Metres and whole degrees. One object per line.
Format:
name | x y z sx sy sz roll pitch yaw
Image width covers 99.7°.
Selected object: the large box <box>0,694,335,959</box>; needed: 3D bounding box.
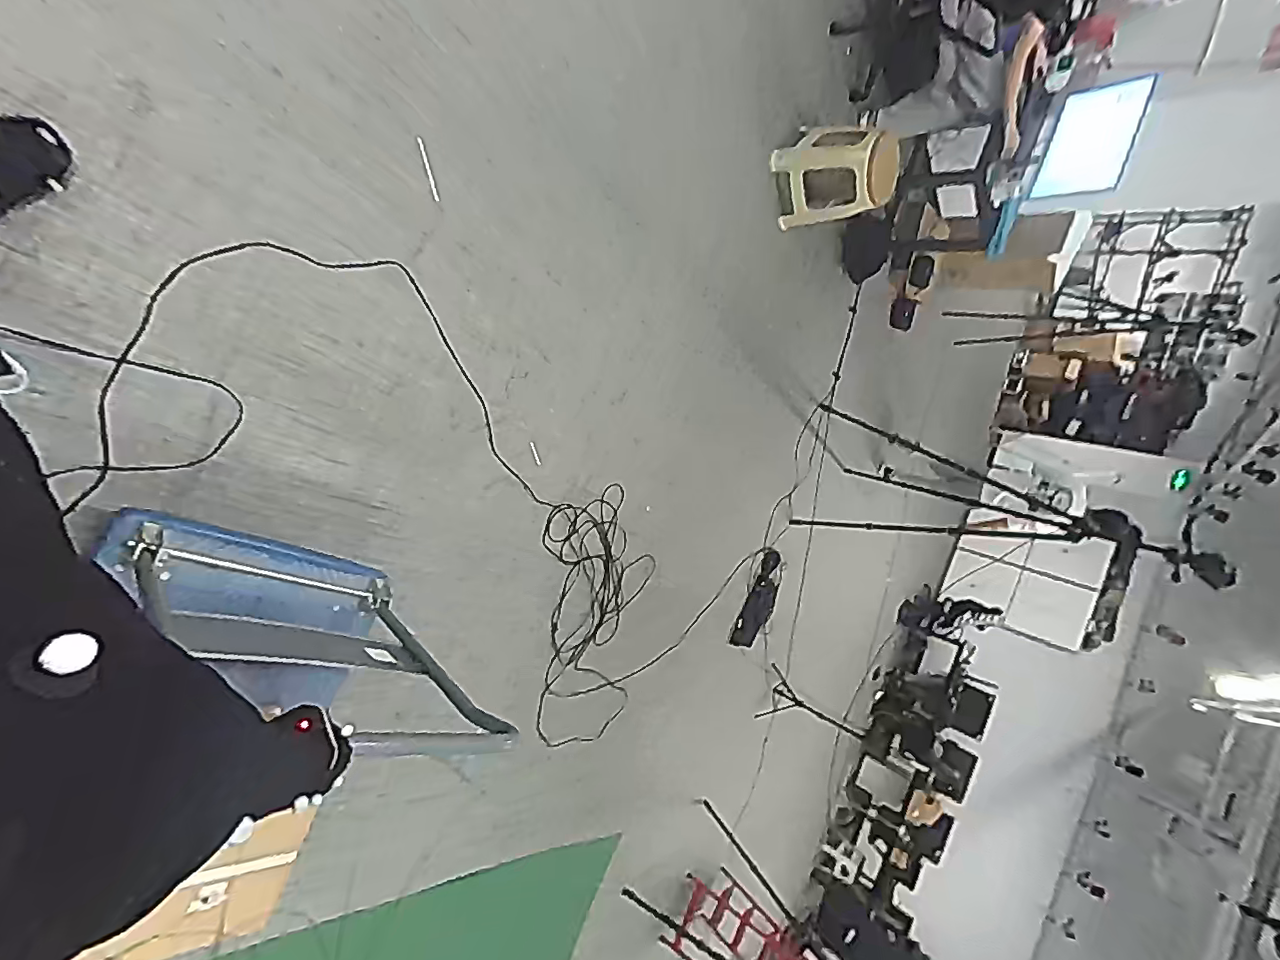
large box | -0.909 0.638 1.046 0.408 0.320 0.320 27 84 -52
